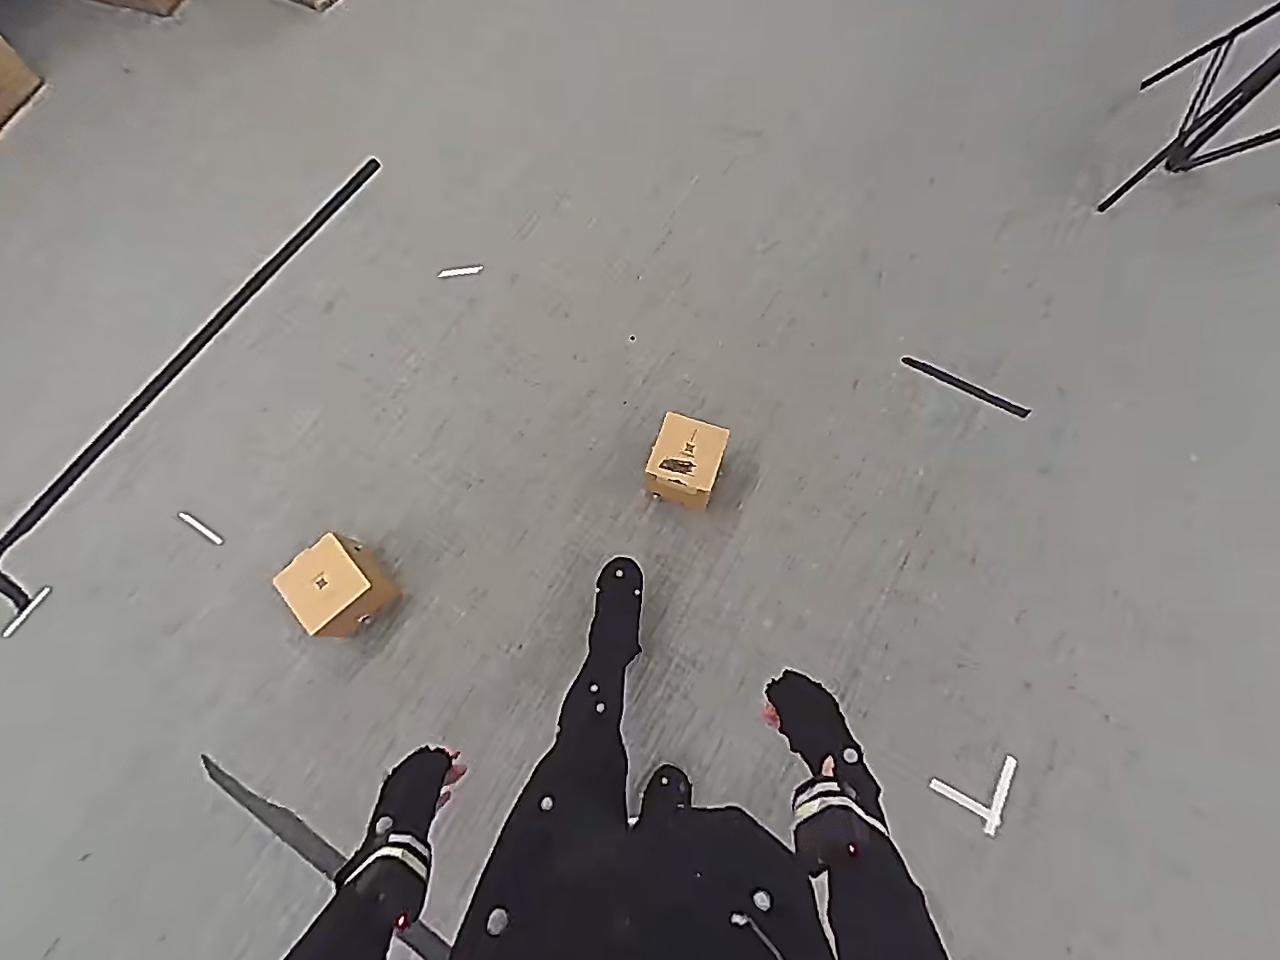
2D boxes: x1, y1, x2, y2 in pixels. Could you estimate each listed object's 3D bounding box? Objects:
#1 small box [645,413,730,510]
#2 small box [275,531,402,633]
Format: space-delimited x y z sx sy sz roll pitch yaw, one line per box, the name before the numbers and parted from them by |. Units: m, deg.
small box | 0.120 -0.041 1.390 0.168 0.176 0.179 18 72 7
small box | -0.716 0.253 1.303 0.168 0.176 0.179 -42 77 -11
